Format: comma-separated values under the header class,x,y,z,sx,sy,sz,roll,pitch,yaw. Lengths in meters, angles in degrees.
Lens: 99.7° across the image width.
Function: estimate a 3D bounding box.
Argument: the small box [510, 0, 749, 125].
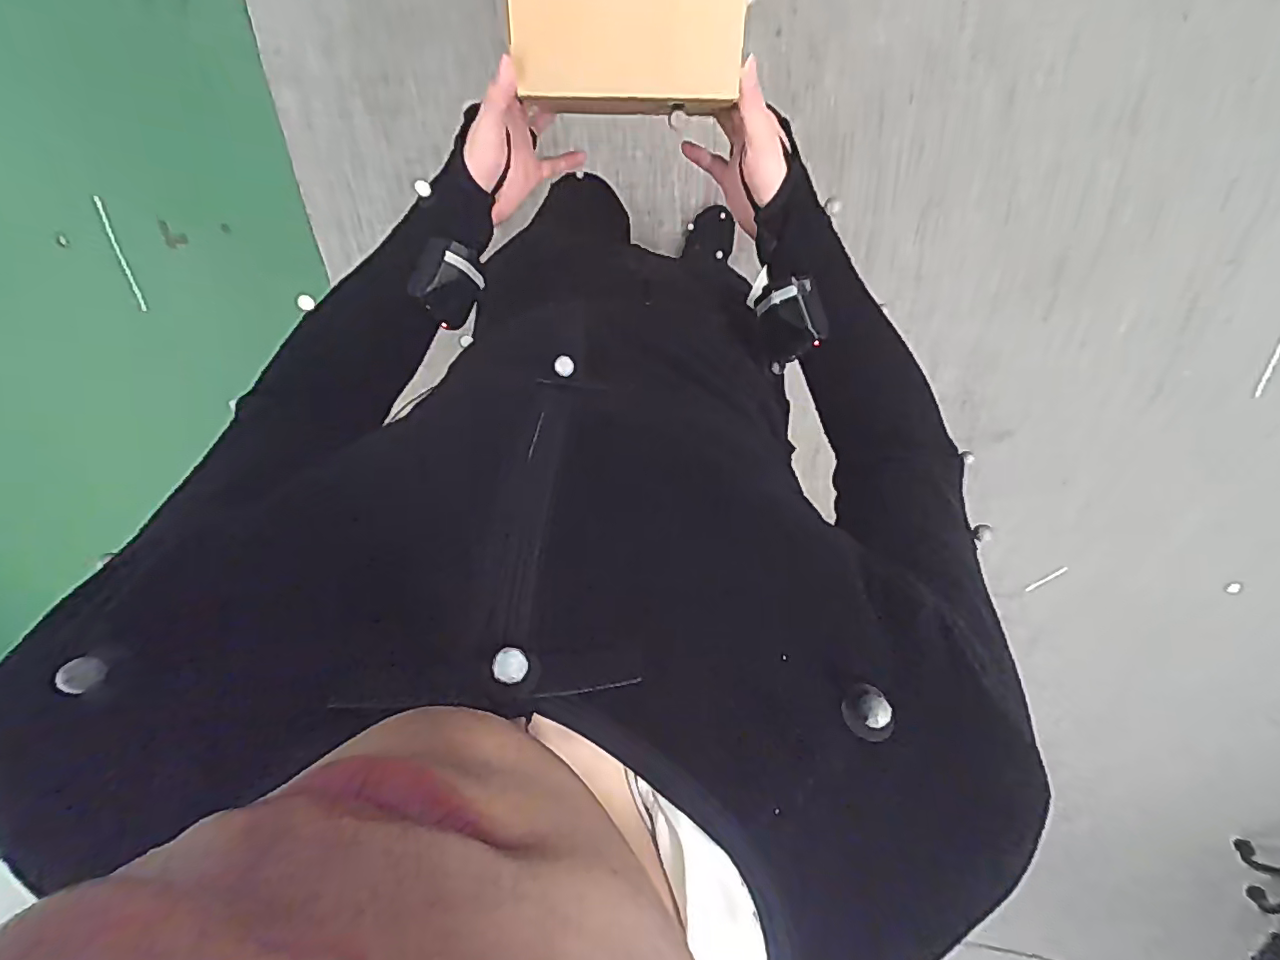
class,x,y,z,sx,sy,sz,roll,pitch,yaw
small box,-0.004,-0.402,0.449,0.179,0.176,0.168,3,119,2
